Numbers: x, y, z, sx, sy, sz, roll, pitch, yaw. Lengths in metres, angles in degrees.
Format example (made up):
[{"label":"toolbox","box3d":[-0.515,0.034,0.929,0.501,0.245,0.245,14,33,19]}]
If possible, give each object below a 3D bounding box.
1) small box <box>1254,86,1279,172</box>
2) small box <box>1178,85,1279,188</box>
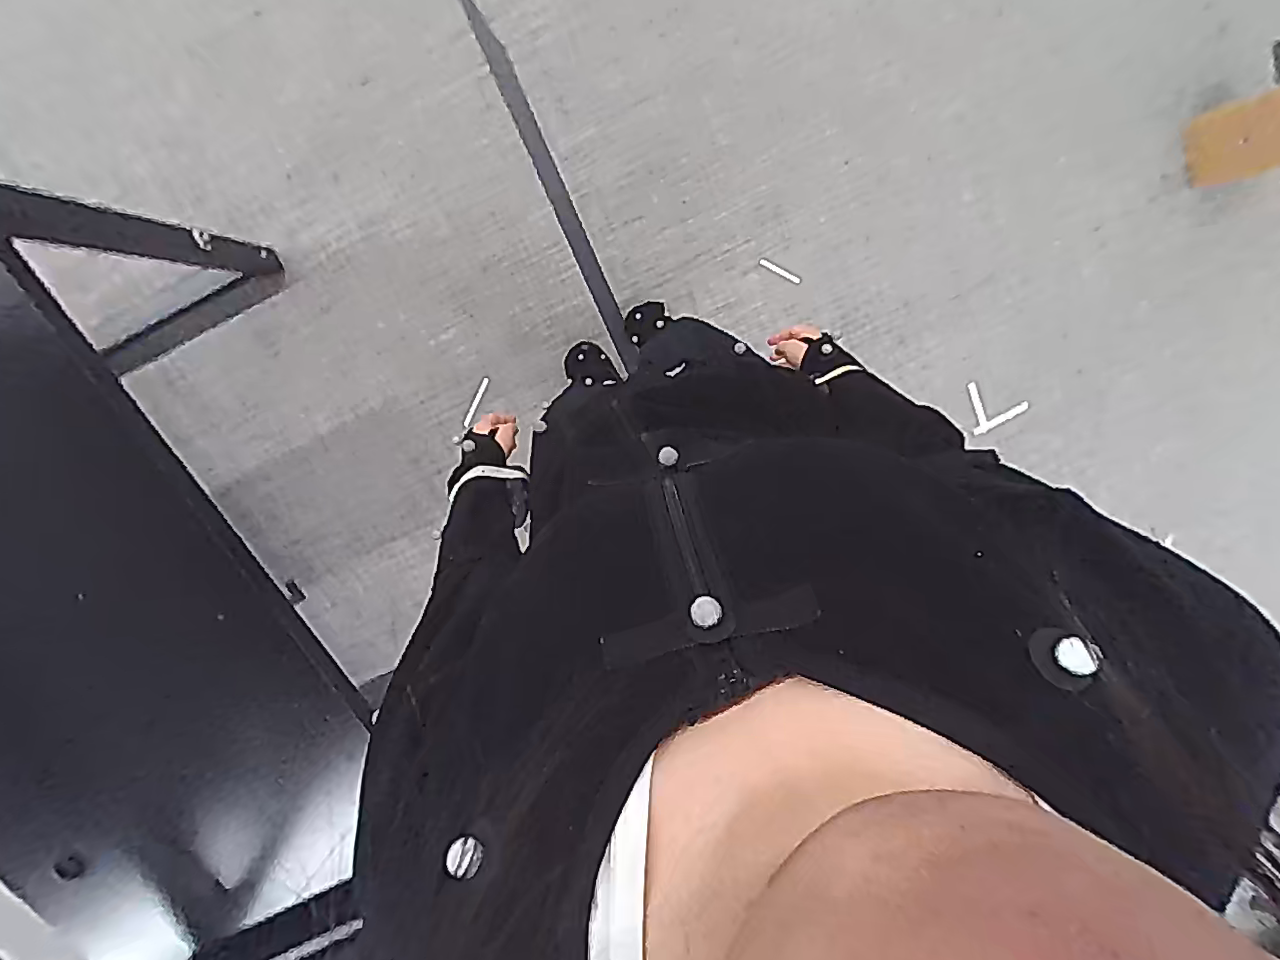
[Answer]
[{"label":"small box","box3d":[1.537,-0.827,1.204,0.168,0.176,0.179,-24,106,1]},{"label":"small box","box3d":[1.526,-0.865,1.363,0.168,0.176,0.179,-26,106,1]}]
